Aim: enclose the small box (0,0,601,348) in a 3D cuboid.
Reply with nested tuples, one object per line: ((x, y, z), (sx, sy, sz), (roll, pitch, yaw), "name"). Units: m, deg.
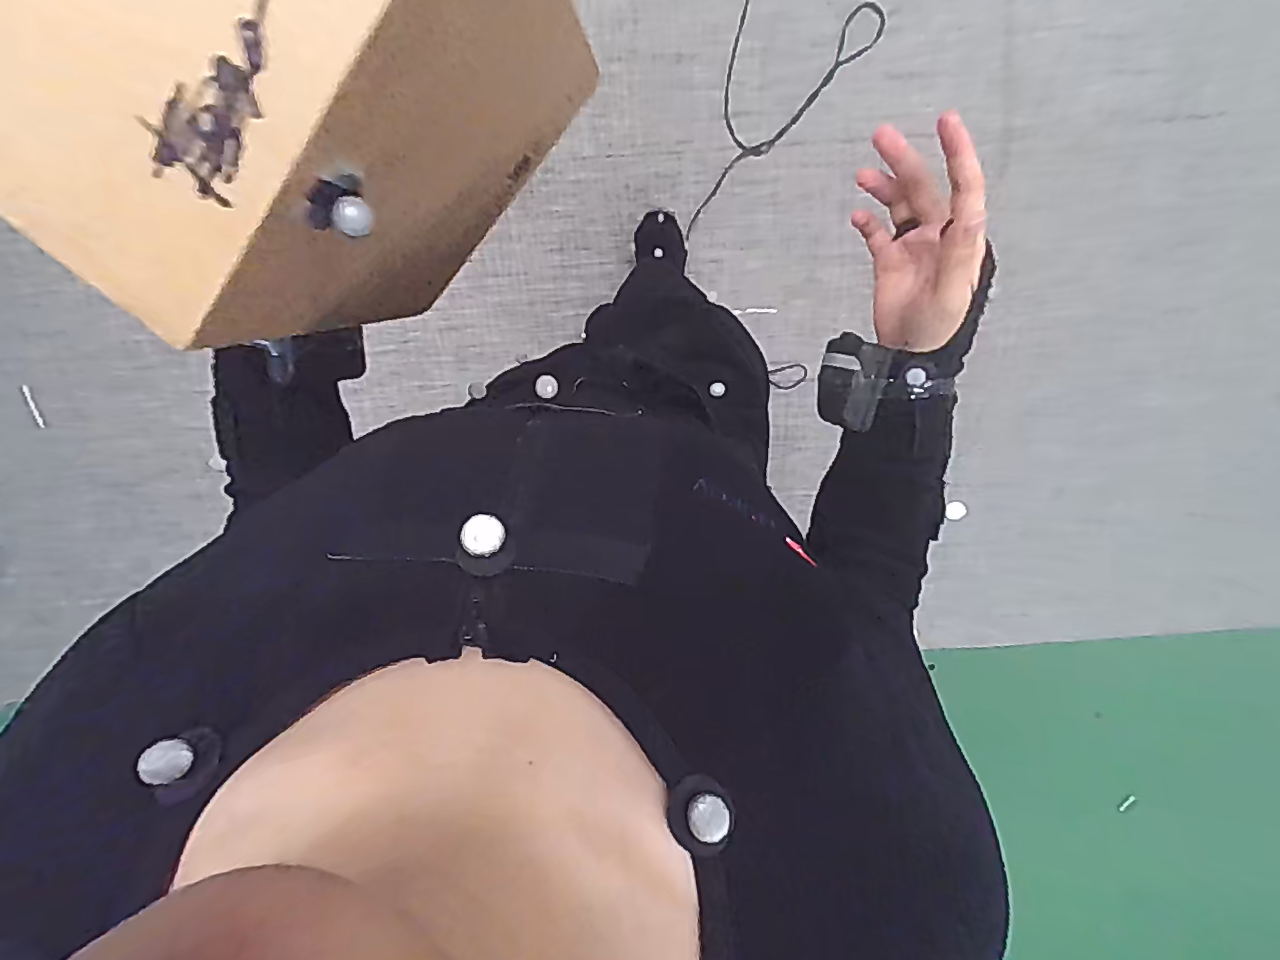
((-0.138, -0.177, 0.217), (0.179, 0.176, 0.168), (42, 108, -10), "small box")
